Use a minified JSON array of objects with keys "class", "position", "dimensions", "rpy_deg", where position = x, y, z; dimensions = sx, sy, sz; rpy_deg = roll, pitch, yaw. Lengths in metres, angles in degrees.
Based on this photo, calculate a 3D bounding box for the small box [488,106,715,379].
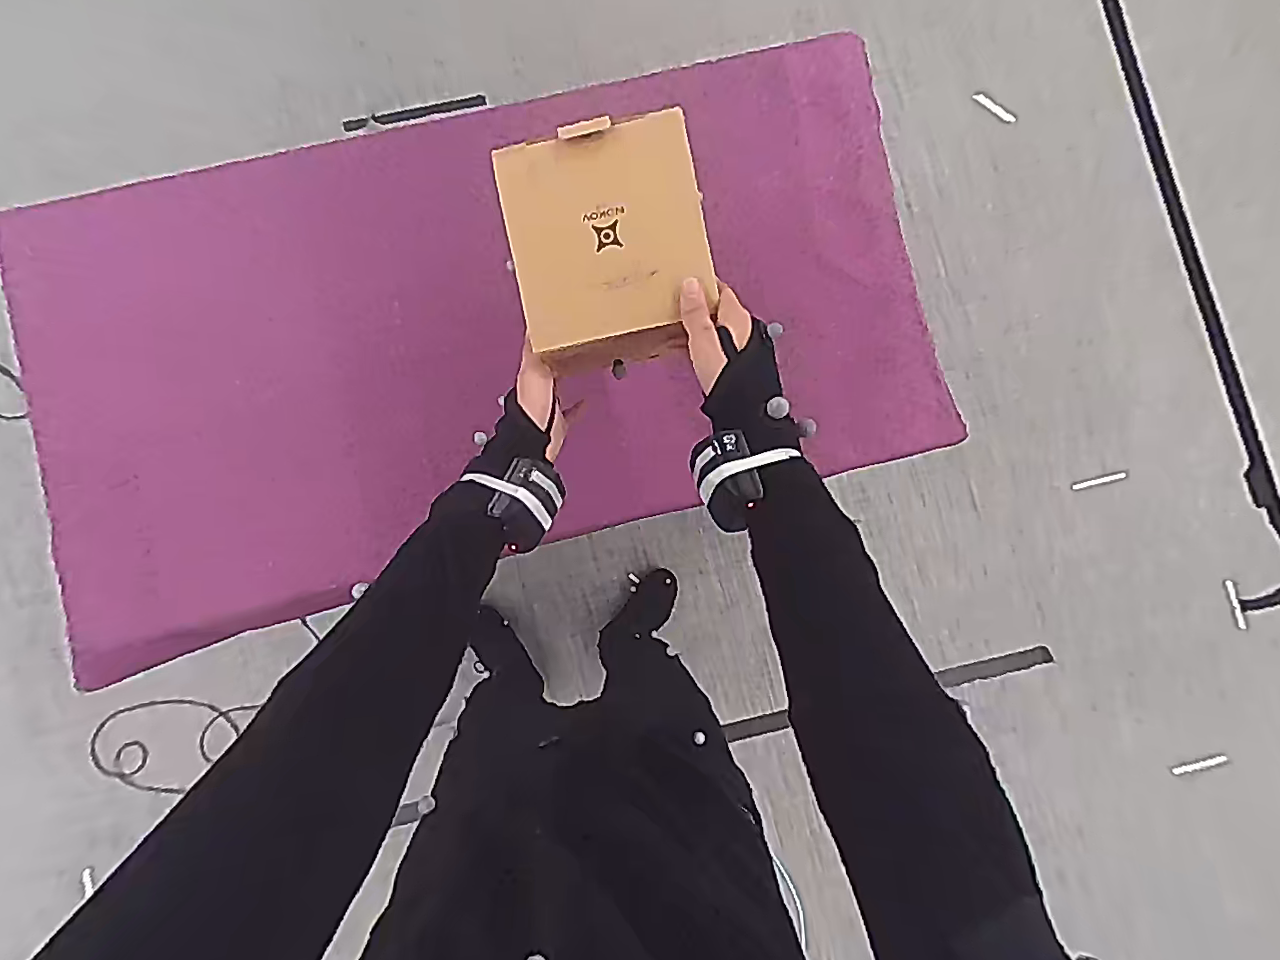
[{"class":"small box","position":[-0.030,-0.209,0.525],"dimensions":[0.168,0.176,0.179],"rpy_deg":[-11,92,3]}]
